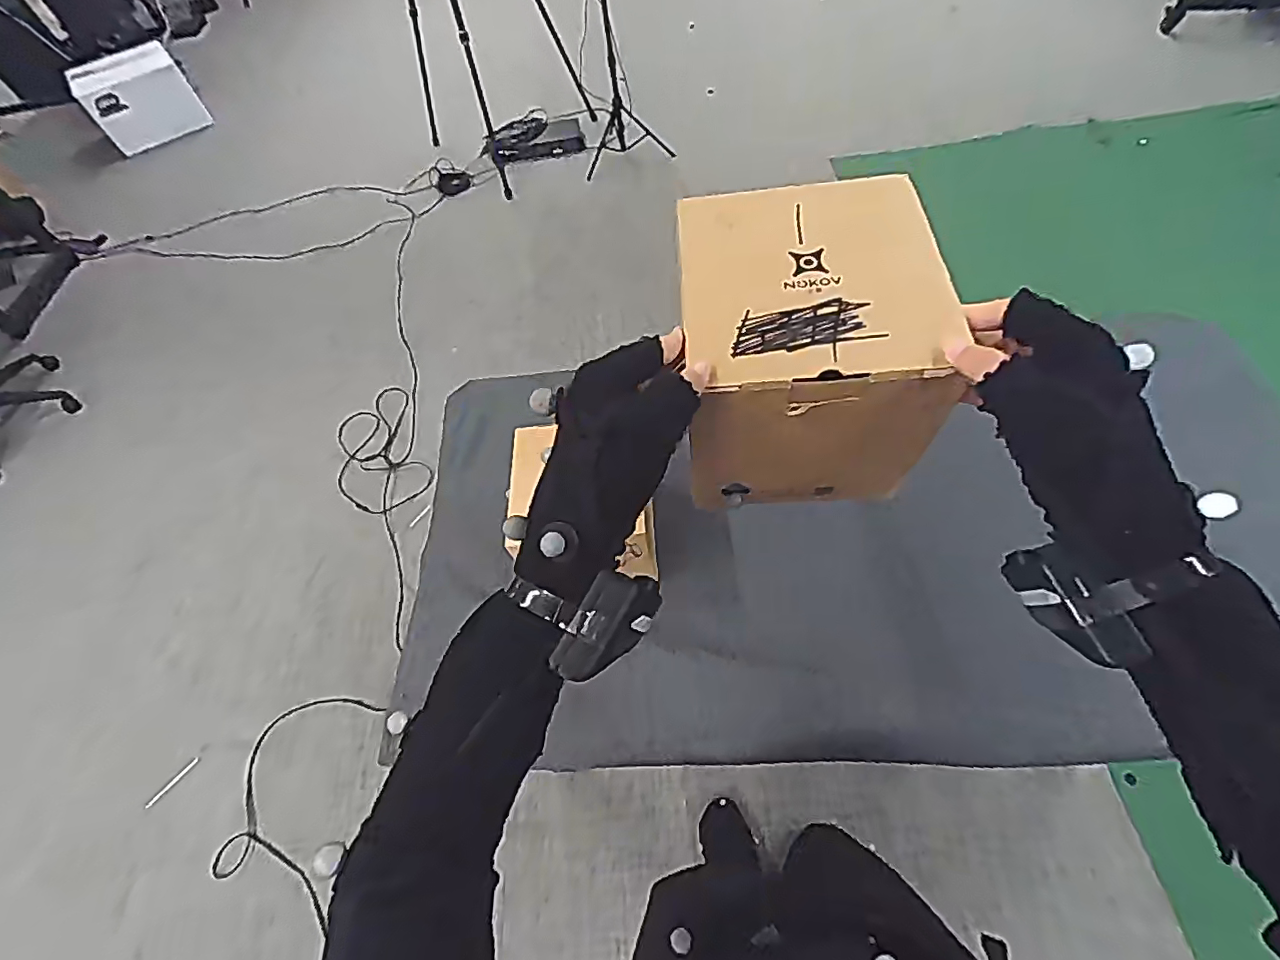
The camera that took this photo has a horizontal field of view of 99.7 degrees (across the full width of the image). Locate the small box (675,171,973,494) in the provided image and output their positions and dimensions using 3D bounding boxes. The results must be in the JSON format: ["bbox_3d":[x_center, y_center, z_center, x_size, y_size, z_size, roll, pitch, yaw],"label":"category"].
[{"bbox_3d":[0.117,-0.096,0.417,0.168,0.176,0.179,-4,62,6],"label":"small box"}]

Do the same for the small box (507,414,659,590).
[{"bbox_3d":[-0.067,0.039,0.724,0.168,0.176,0.179,-7,57,4],"label":"small box"}]
